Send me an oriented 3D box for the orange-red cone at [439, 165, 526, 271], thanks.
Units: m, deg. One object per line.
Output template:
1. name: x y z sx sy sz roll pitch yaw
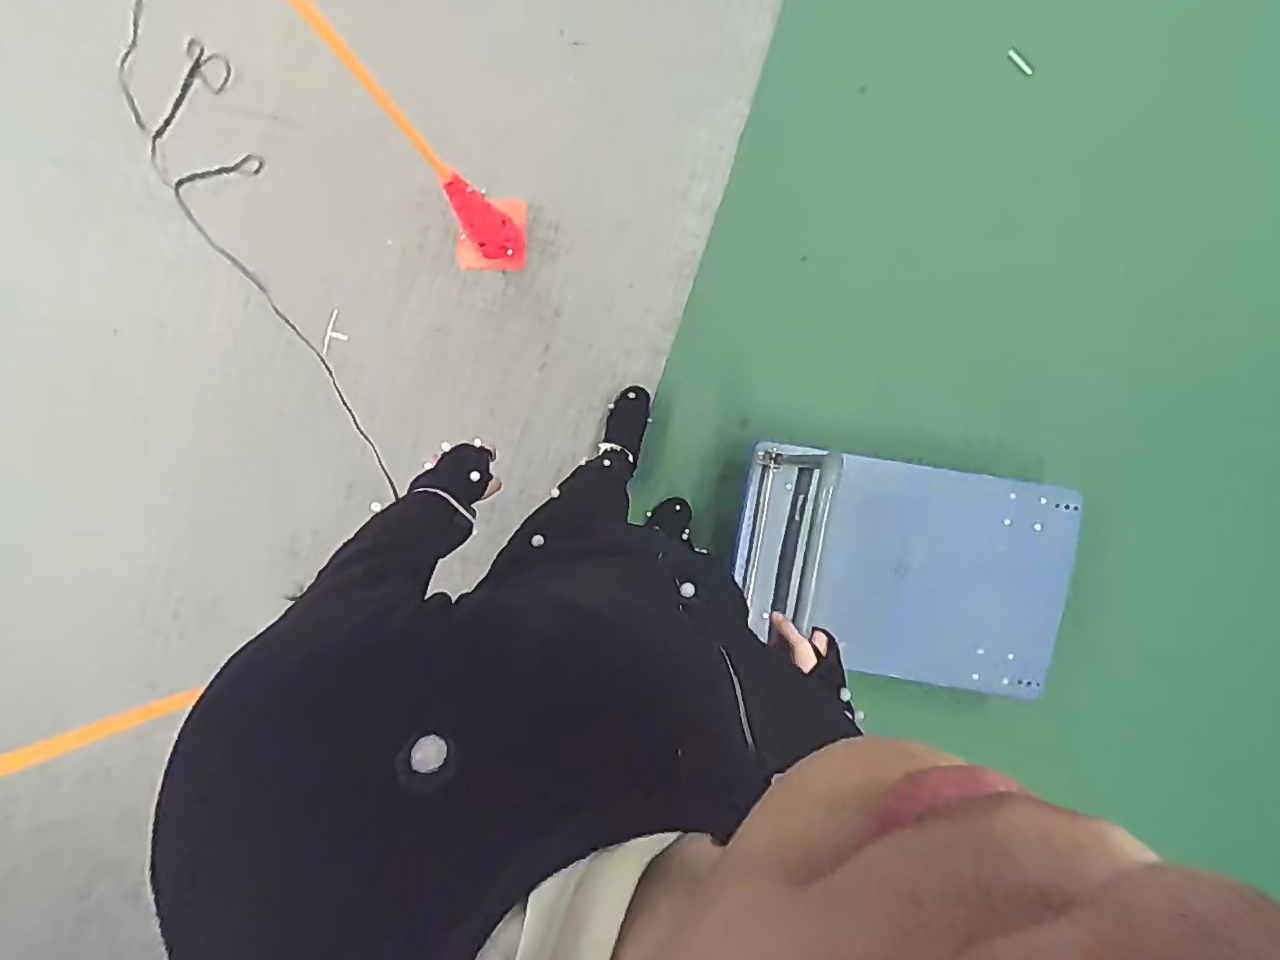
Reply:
1. orange-red cone: -0.437 -0.708 1.403 0.198 0.360 0.199 4 92 1
